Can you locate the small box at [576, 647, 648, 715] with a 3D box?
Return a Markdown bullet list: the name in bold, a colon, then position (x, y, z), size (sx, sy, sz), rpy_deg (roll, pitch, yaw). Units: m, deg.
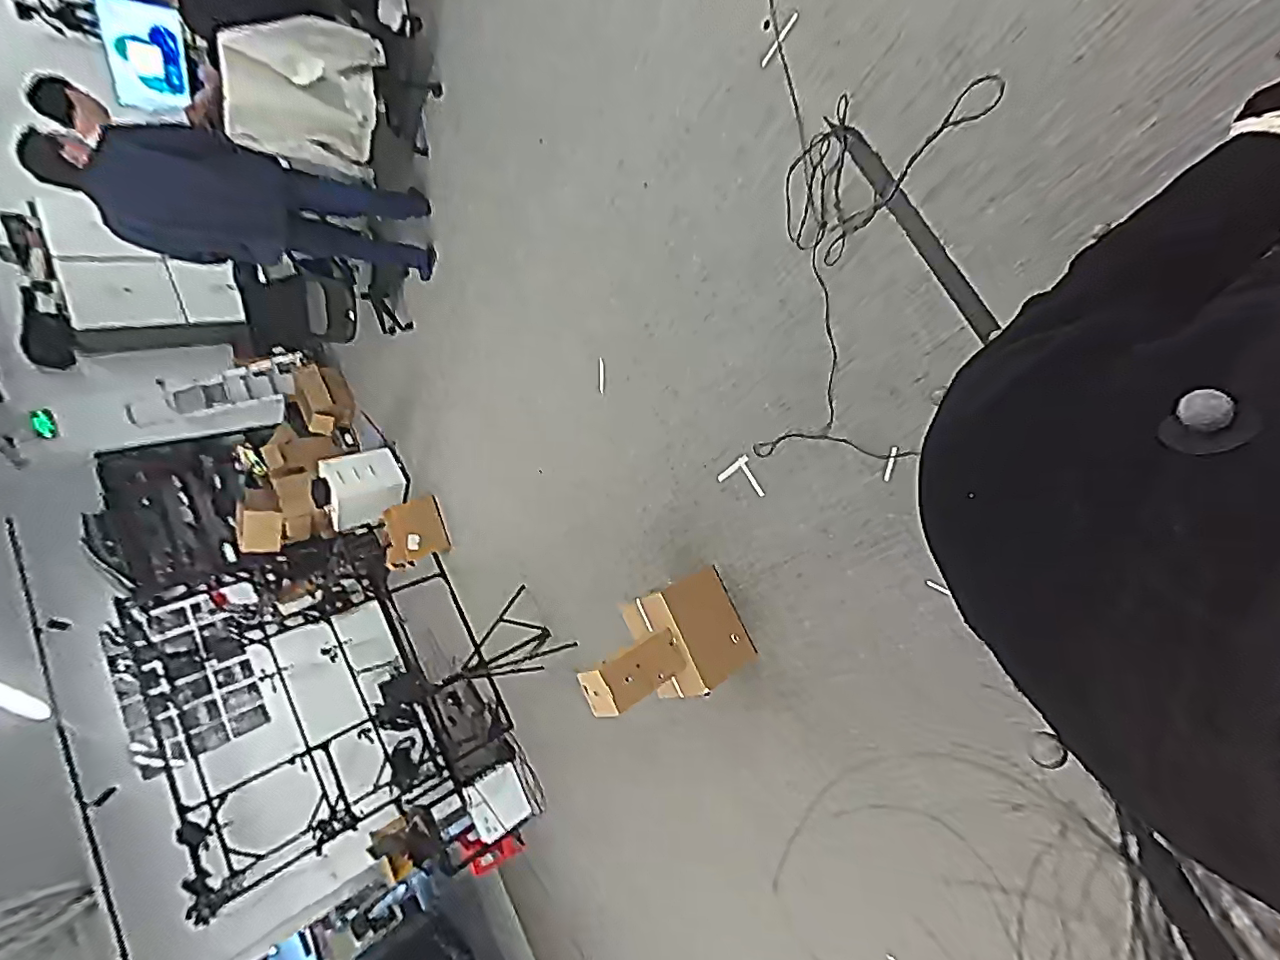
- **small box**: position (-0.093, 0.710, 1.919), size (0.179, 0.176, 0.168), rpy_deg (-34, 79, 49)
